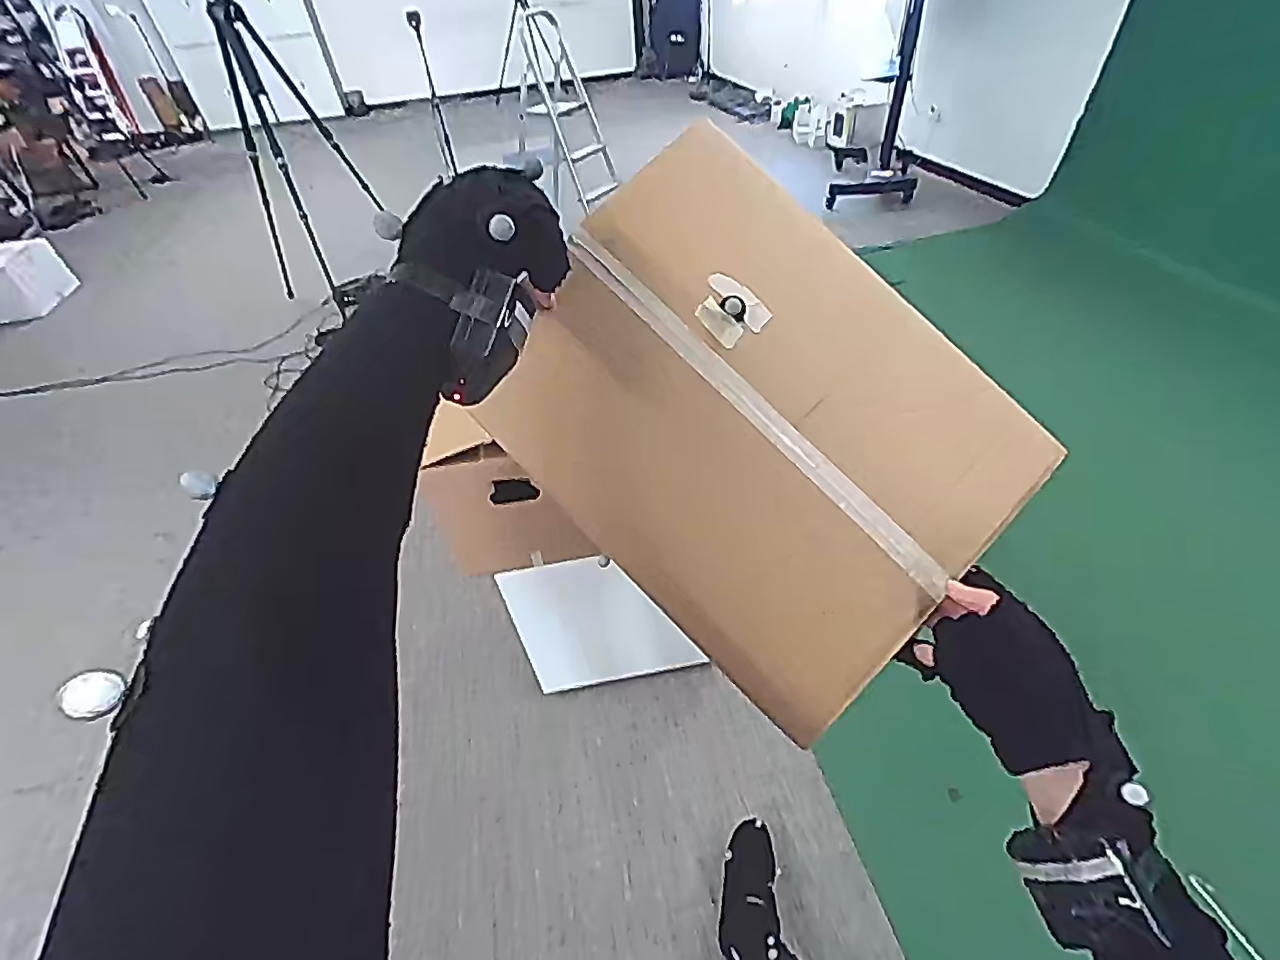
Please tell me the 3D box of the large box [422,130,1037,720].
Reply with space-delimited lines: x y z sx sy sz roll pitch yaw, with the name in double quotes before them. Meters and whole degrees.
"large box" 0.070 -0.040 0.577 0.320 0.320 0.408 -44 84 -7
